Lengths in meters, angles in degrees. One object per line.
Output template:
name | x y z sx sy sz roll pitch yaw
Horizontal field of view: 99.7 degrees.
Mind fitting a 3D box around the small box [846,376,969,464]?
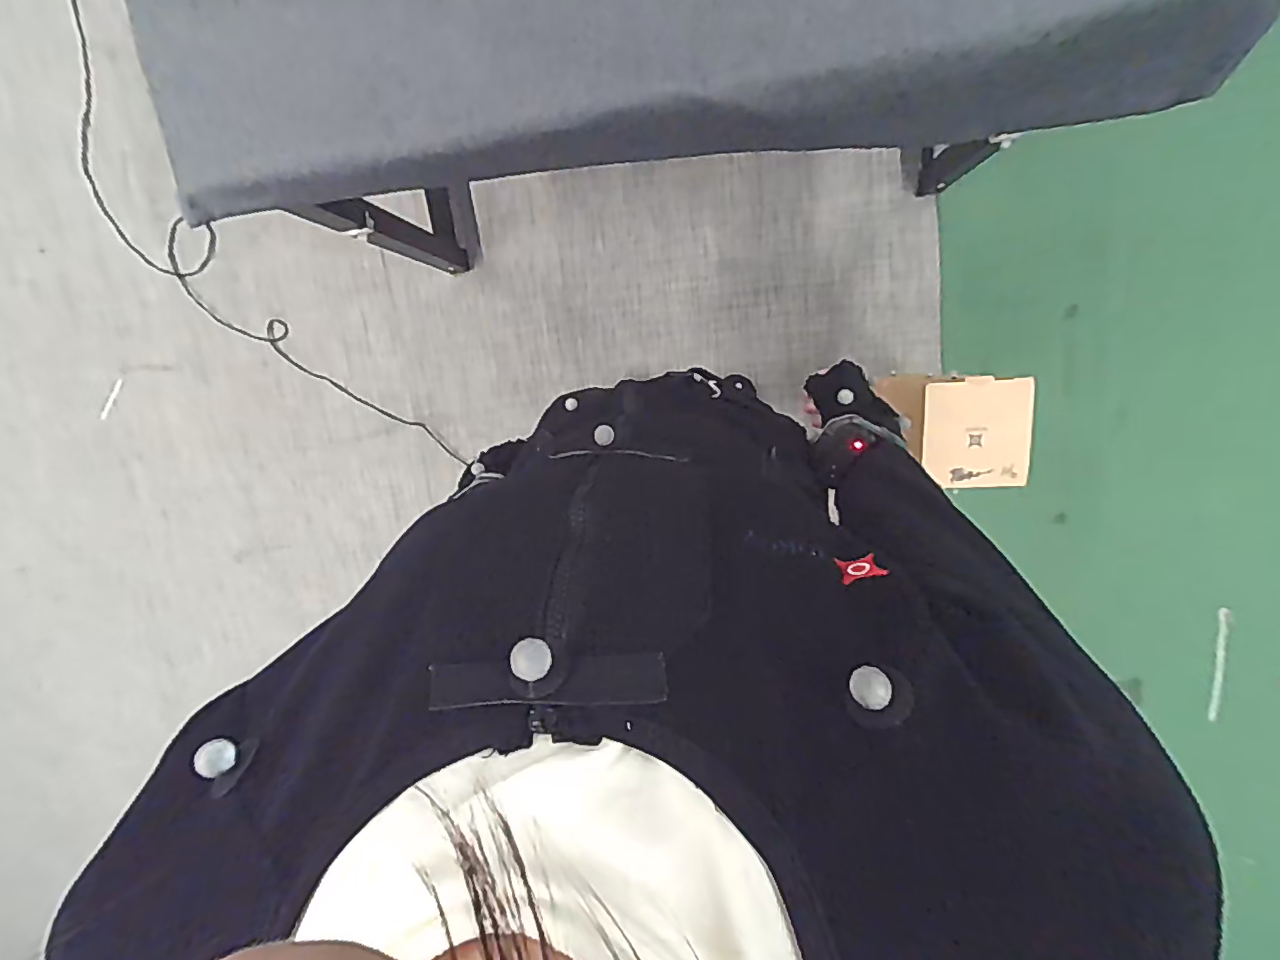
small box | 0.539 -0.128 1.109 0.179 0.176 0.168 -1 101 6

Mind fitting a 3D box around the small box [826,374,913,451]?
small box | 0.549 -0.162 1.270 0.179 0.176 0.168 -2 101 7
